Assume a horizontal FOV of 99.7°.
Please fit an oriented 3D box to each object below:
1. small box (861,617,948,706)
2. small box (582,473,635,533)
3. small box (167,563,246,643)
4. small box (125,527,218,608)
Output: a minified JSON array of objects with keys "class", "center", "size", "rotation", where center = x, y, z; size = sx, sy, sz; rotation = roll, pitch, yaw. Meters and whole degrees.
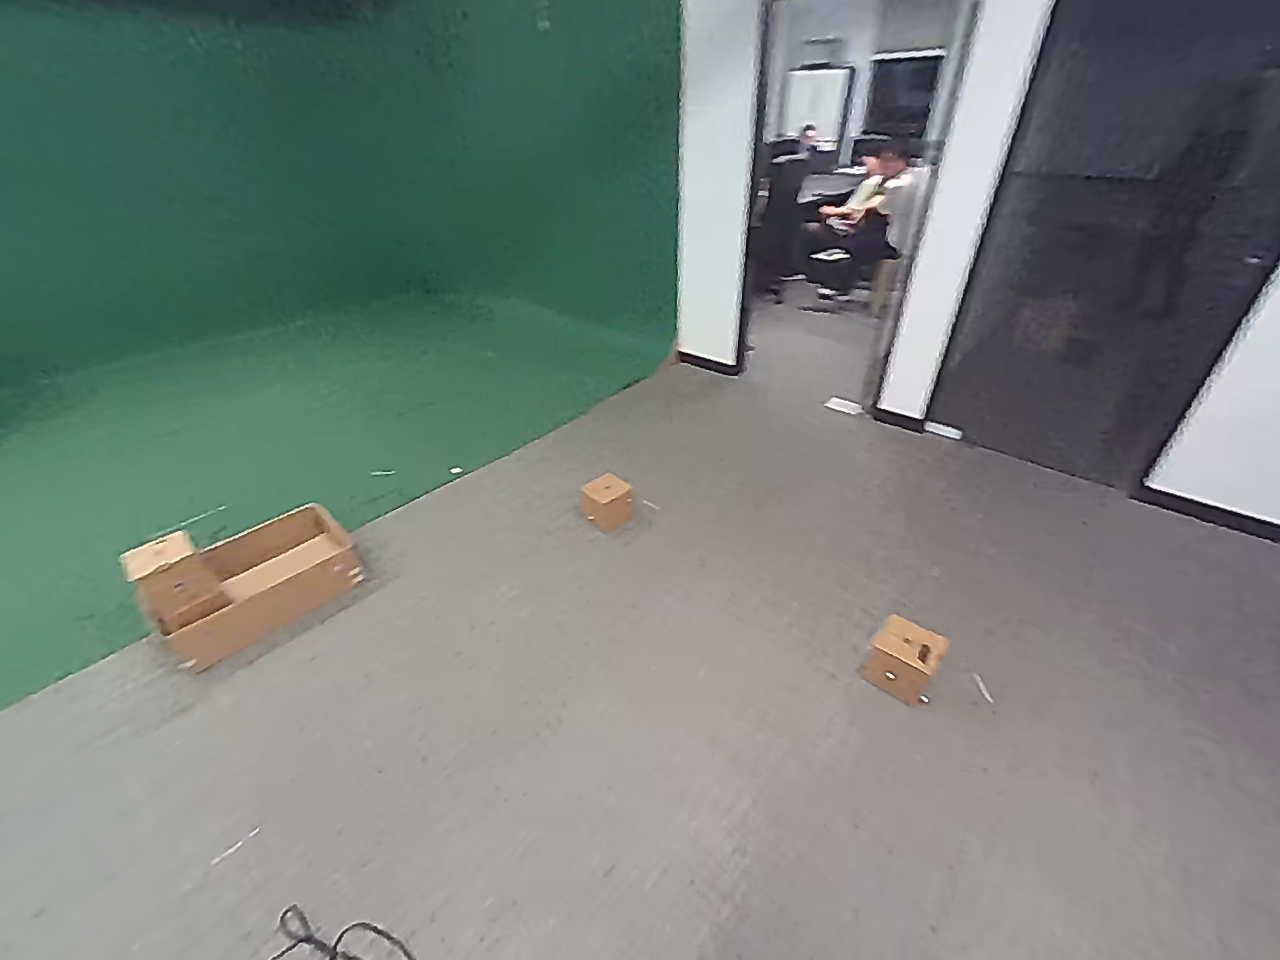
[{"class":"small box","center":[0.822,0.574,1.692],"size":[0.179,0.176,0.168],"rotation":[27,44,35]},{"class":"small box","center":[-0.137,0.103,2.379],"size":[0.179,0.176,0.168],"rotation":[-29,43,-33]},{"class":"small box","center":[-1.509,0.427,1.862],"size":[0.179,0.176,0.168],"rotation":[26,44,31]},{"class":"small box","center":[-1.526,0.293,1.768],"size":[0.168,0.176,0.179],"rotation":[-31,46,-35]}]
